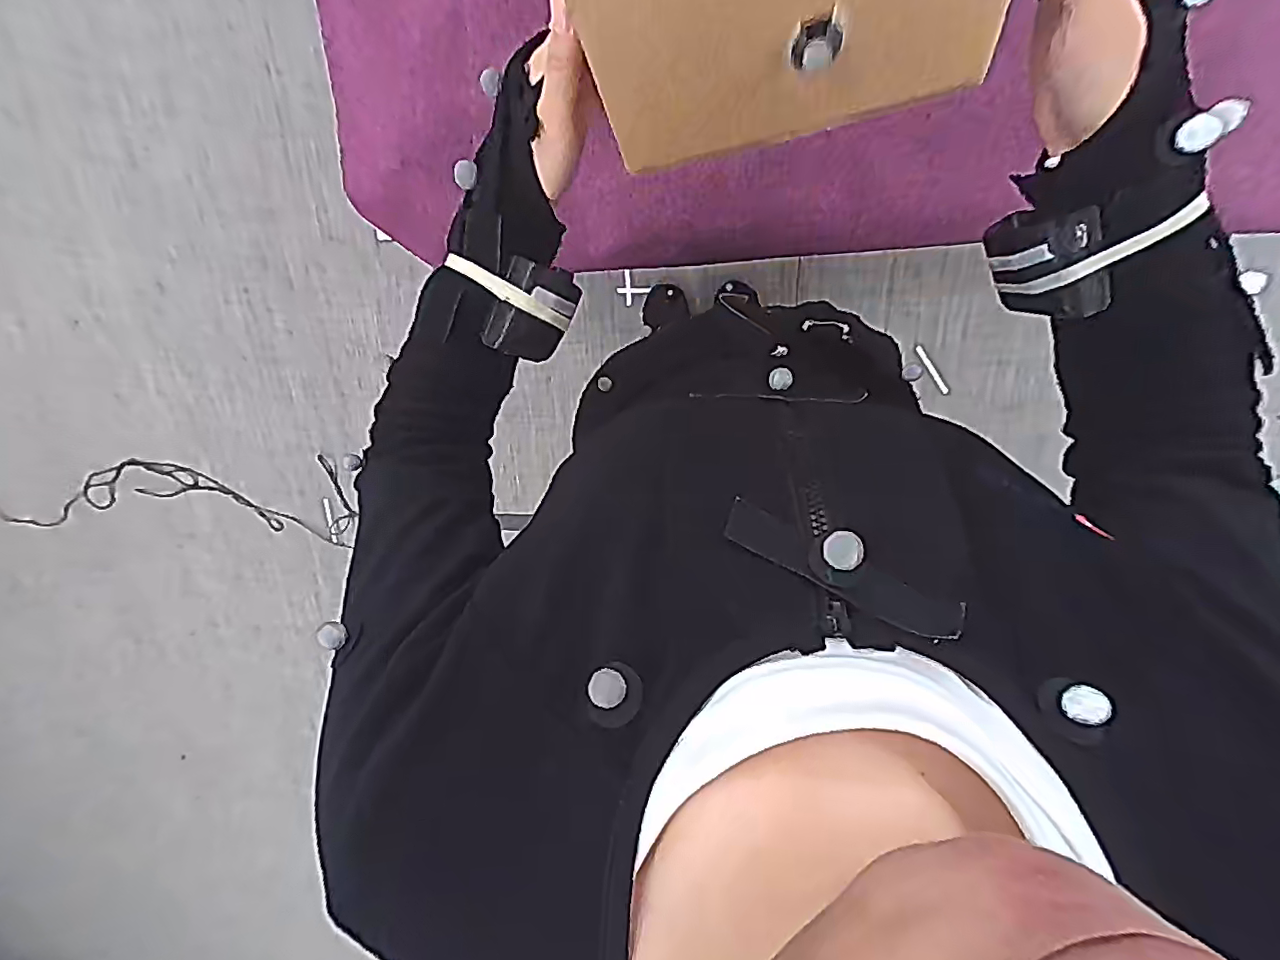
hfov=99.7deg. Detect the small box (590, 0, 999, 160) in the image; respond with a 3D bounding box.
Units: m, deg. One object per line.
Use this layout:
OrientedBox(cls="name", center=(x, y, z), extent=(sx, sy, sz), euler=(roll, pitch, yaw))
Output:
OrientedBox(cls="small box", center=(0.054, -0.284, 0.224), extent=(0.179, 0.176, 0.168), euler=(-7, 66, 14))
